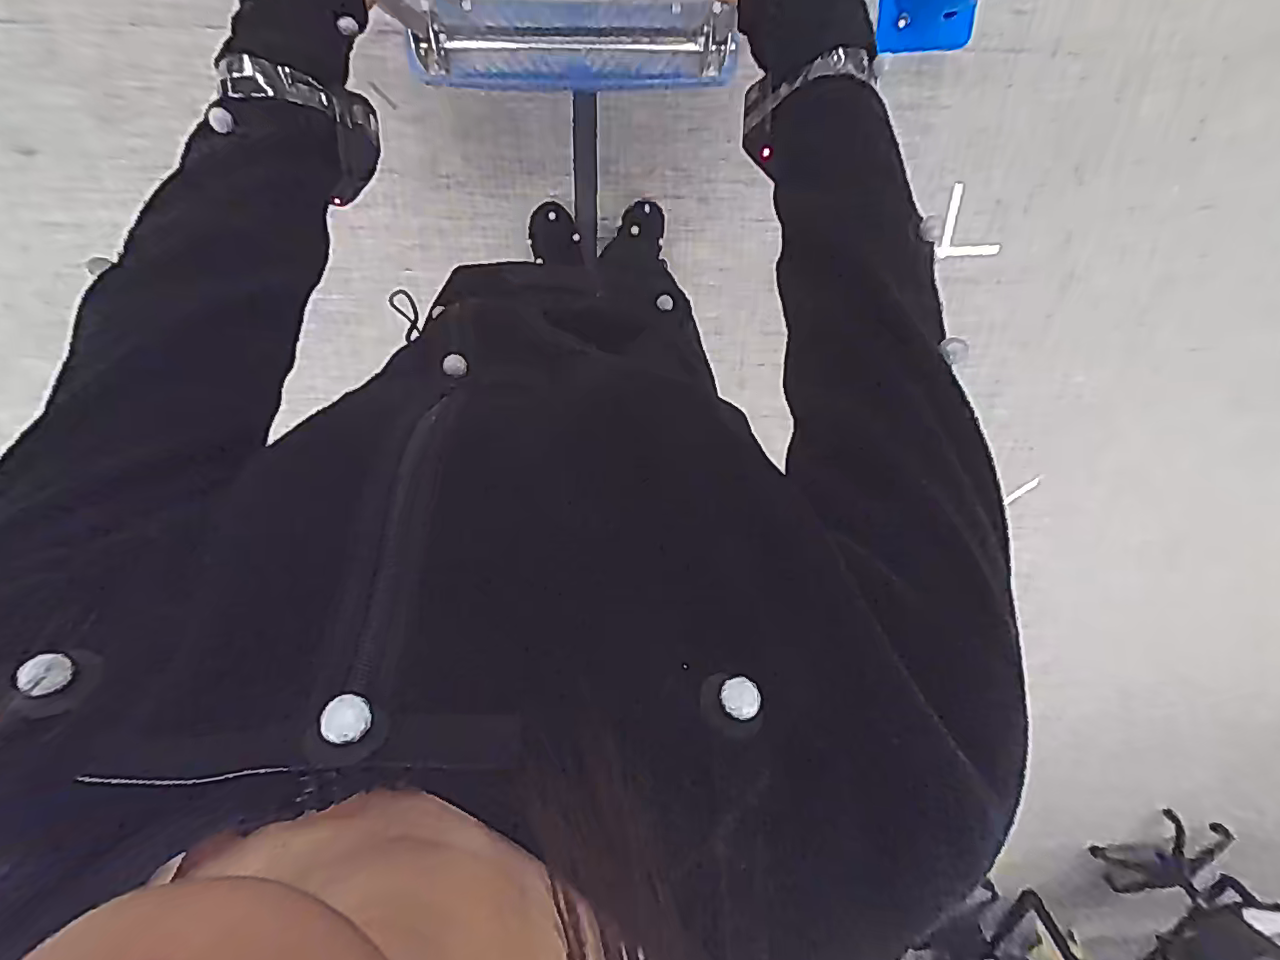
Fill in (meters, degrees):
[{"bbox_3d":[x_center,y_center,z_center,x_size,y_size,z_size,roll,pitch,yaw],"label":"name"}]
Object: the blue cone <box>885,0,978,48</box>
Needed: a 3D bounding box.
[{"bbox_3d":[0.592,-0.894,0.917,0.193,0.380,0.192,-4,118,-3],"label":"blue cone"}]
